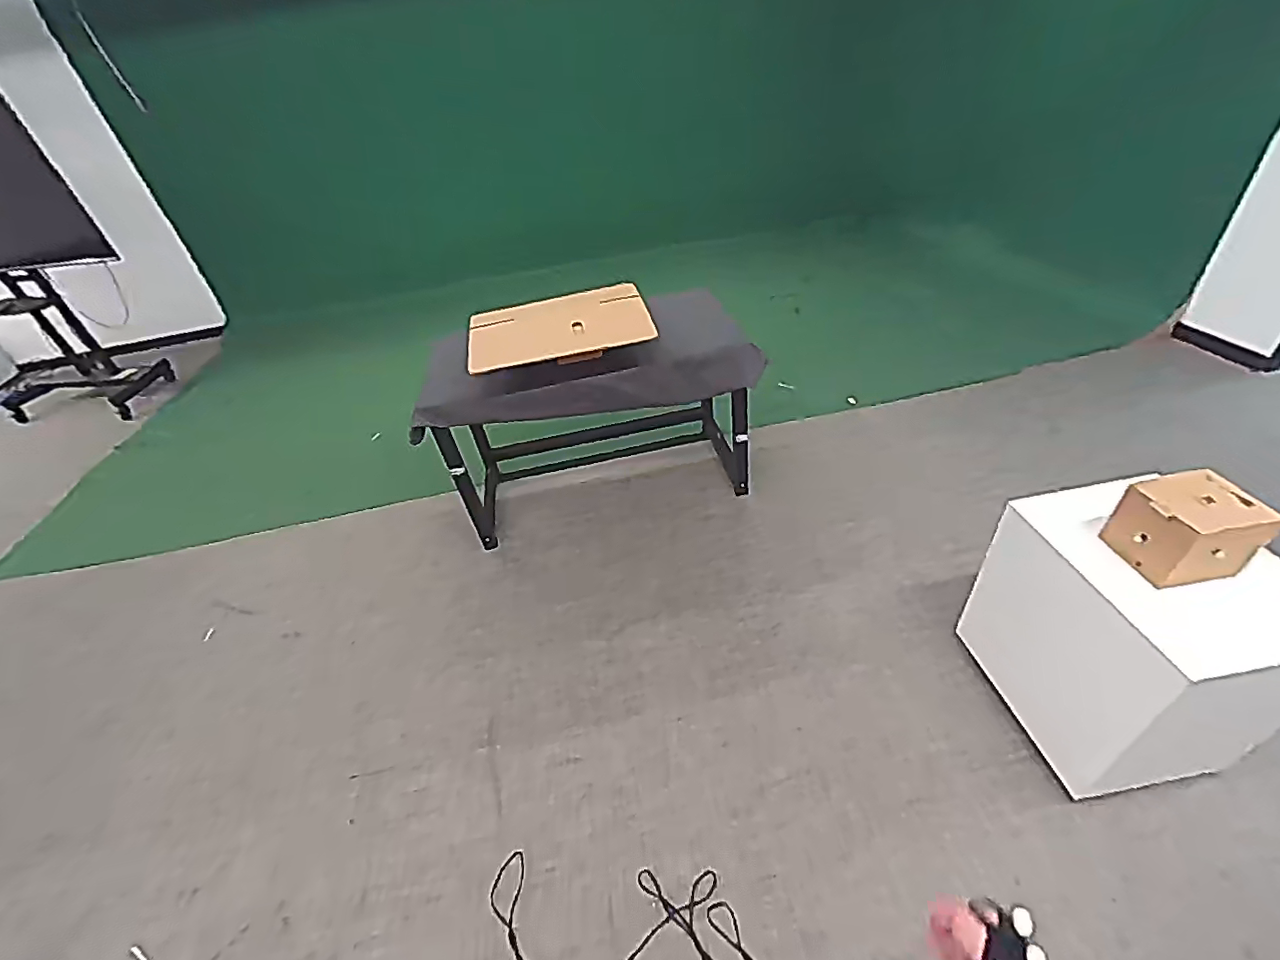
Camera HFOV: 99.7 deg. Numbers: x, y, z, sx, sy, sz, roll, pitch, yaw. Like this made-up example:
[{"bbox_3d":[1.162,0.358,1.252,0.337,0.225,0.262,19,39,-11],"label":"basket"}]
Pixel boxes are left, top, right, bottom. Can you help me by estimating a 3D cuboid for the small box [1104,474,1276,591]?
[{"bbox_3d":[1.144,0.114,1.148,0.179,0.176,0.168,-11,38,-4],"label":"small box"}]
